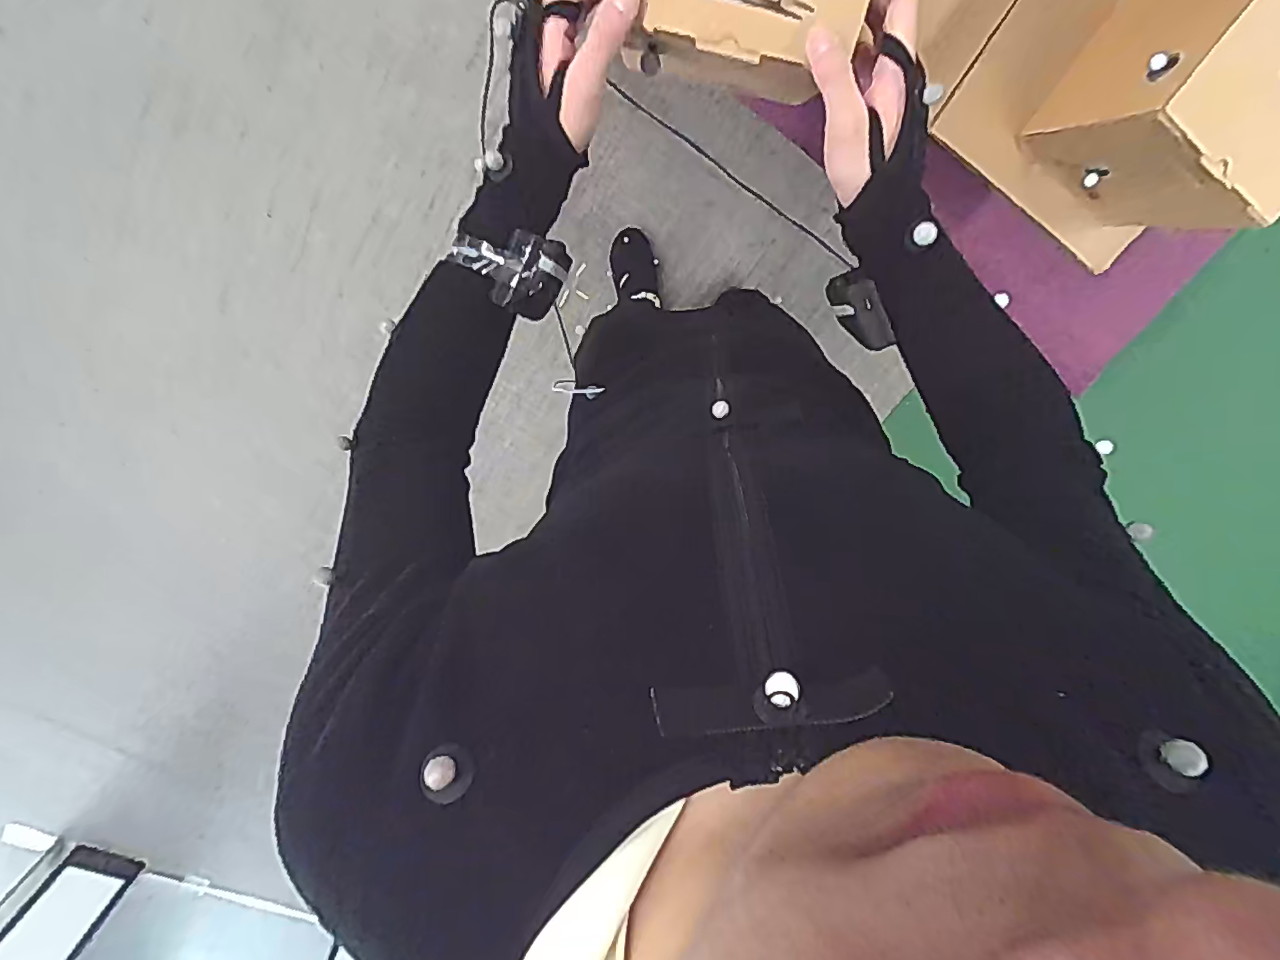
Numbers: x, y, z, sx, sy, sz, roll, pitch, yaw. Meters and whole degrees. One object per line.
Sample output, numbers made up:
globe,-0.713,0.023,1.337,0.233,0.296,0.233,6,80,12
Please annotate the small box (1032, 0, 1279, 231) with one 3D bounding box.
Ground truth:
small box,0.519,-0.354,0.489,0.168,0.176,0.179,26,112,-16
